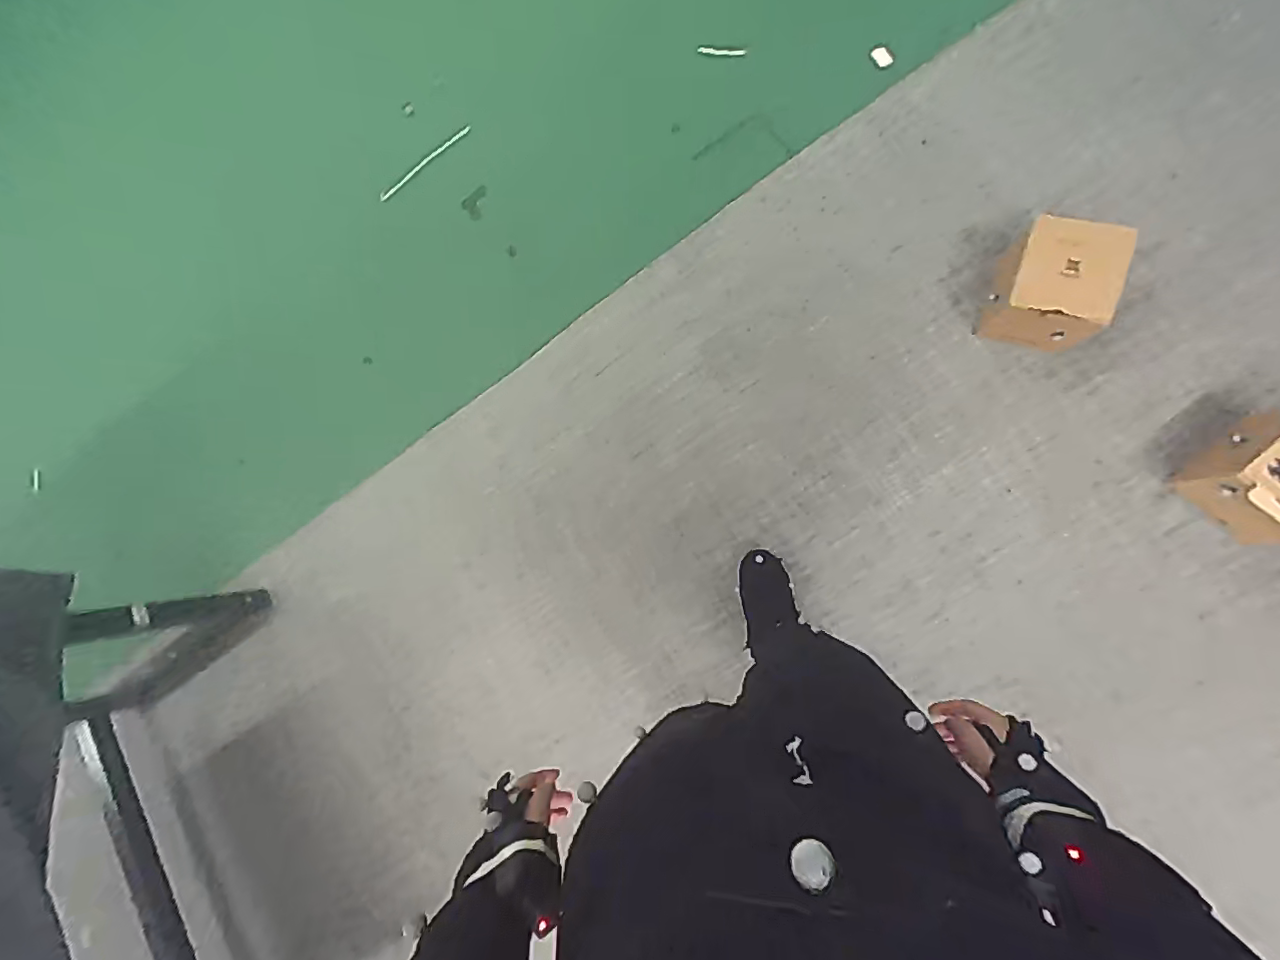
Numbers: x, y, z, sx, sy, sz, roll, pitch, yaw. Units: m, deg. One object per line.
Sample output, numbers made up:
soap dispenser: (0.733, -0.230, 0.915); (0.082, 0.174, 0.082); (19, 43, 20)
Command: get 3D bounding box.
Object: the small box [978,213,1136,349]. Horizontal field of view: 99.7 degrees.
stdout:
small box: (0.777, -0.369, 1.030); (0.168, 0.176, 0.179); (17, 88, 13)
